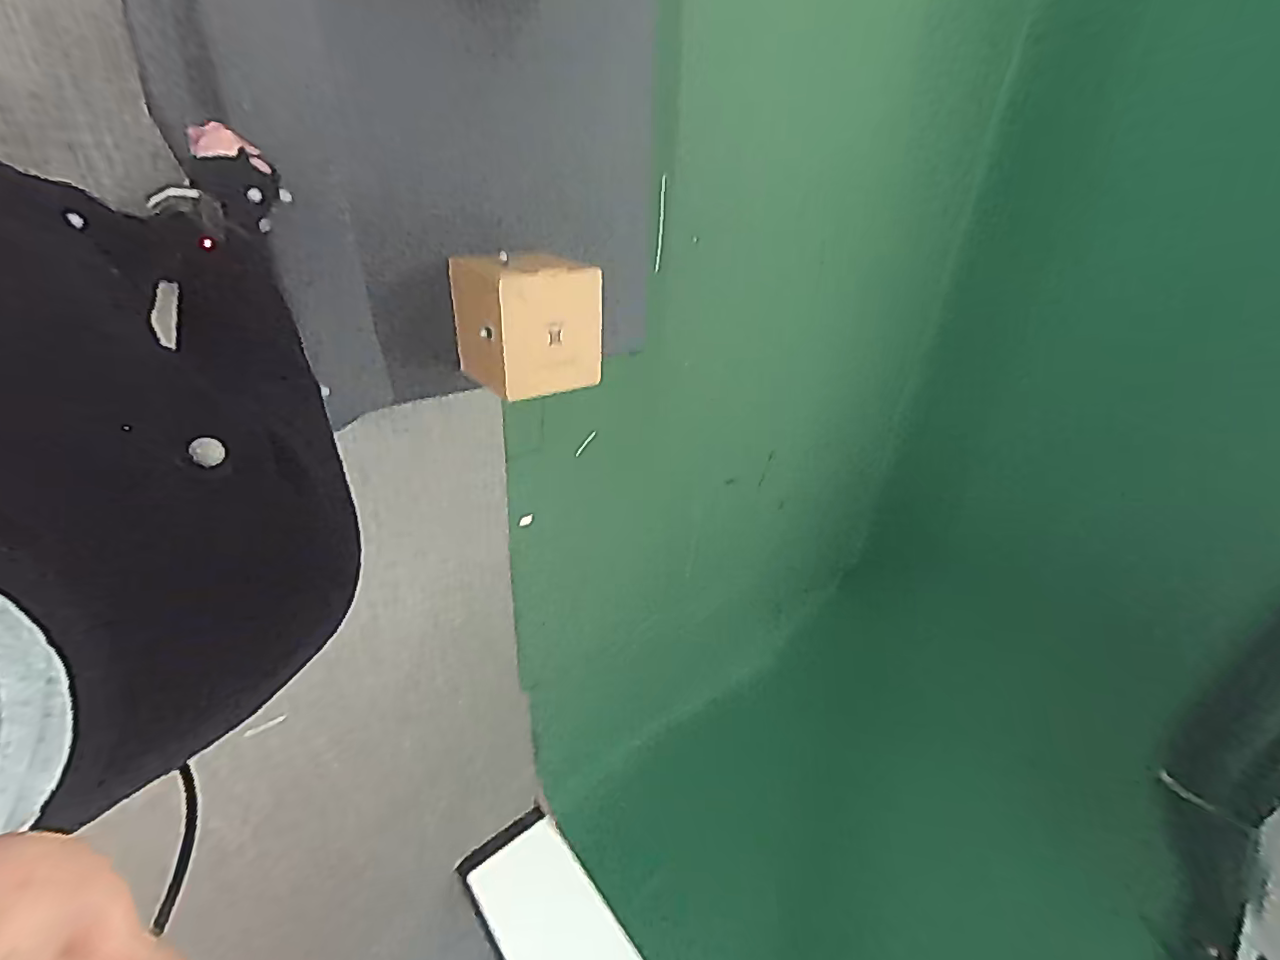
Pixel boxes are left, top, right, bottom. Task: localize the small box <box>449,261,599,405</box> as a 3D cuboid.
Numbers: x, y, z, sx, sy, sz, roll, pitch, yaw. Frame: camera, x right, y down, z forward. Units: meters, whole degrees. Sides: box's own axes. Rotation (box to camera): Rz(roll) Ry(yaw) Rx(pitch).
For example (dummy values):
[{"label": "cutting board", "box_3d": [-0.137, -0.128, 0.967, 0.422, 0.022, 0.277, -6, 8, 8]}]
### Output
[{"label": "small box", "box_3d": [-0.178, -0.235, 0.828, 0.168, 0.176, 0.179, -19, 127, -34]}]
